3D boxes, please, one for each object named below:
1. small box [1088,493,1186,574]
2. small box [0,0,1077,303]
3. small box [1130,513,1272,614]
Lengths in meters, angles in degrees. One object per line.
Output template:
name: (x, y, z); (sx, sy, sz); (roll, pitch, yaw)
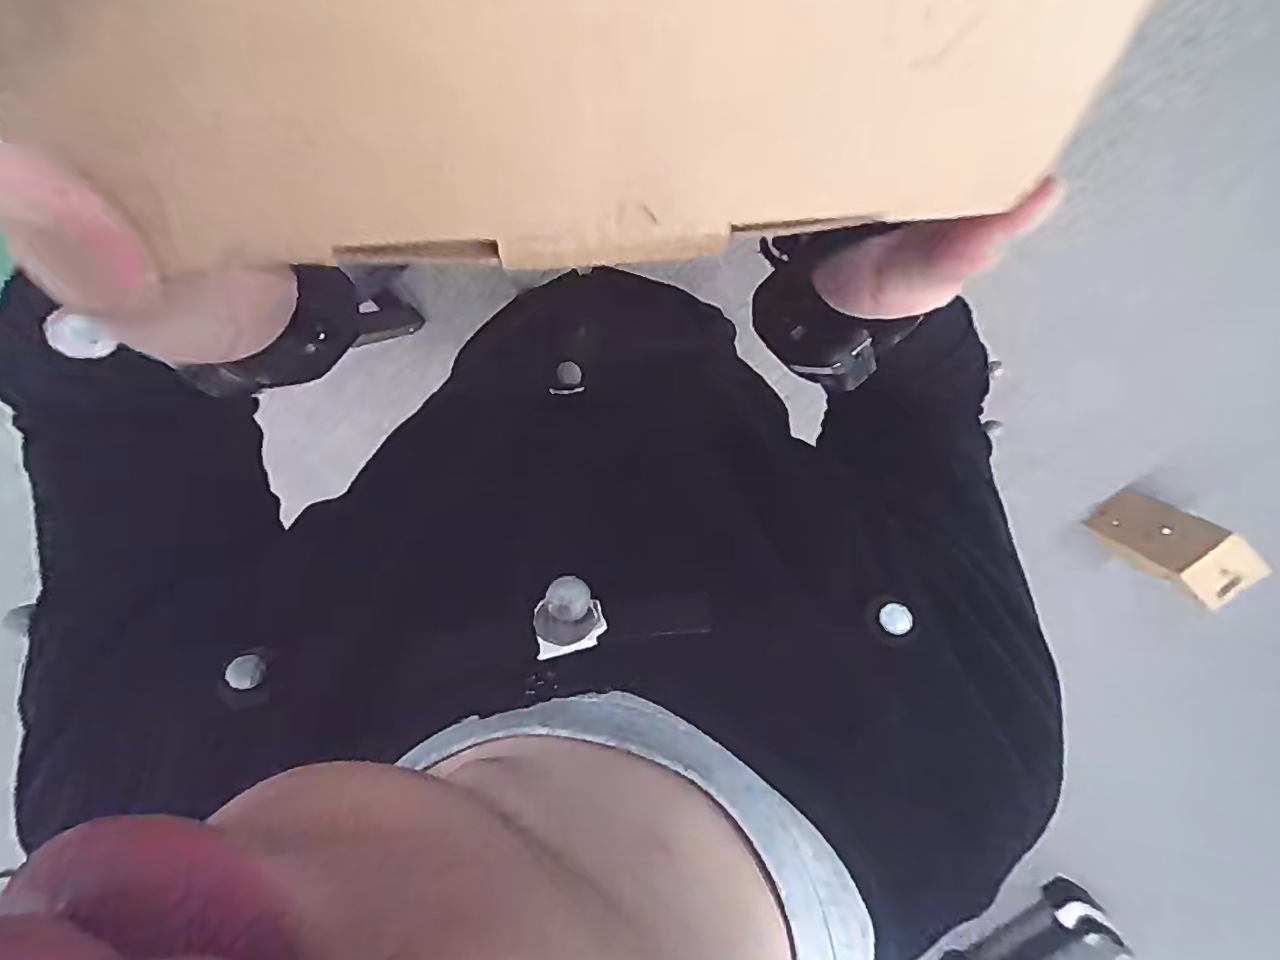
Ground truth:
small box: (1.509, 0.159, 1.616); (0.179, 0.176, 0.168); (38, 106, -15)
small box: (-0.026, -0.155, 0.083); (0.168, 0.176, 0.179); (-6, 144, -6)
small box: (1.505, 0.219, 1.462); (0.179, 0.176, 0.168); (39, 105, -13)
